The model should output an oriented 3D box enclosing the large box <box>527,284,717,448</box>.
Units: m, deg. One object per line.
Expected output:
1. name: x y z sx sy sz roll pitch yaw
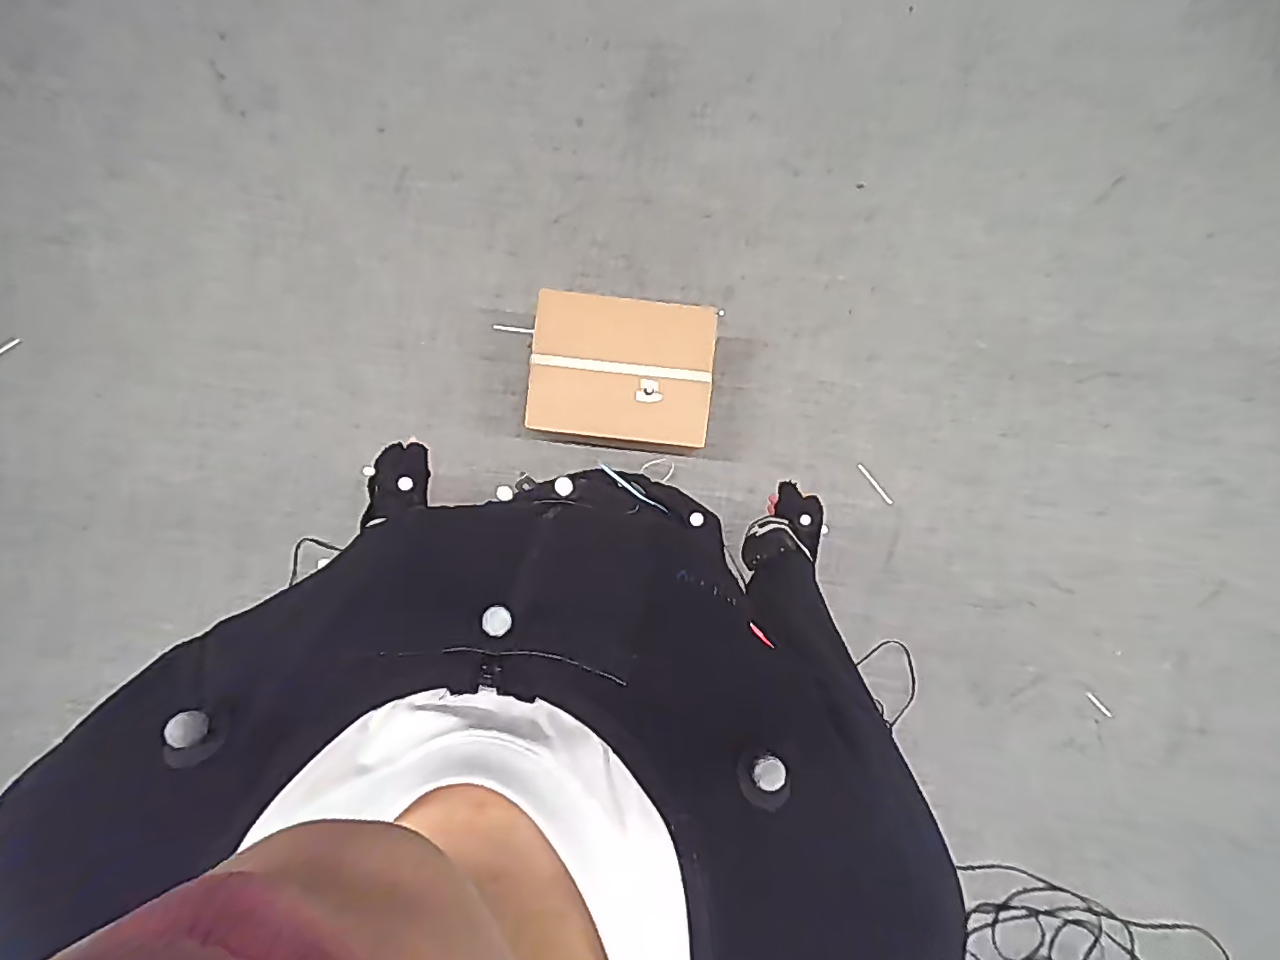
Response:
1. large box: -0.045 -0.260 1.342 0.408 0.320 0.320 7 90 -1
